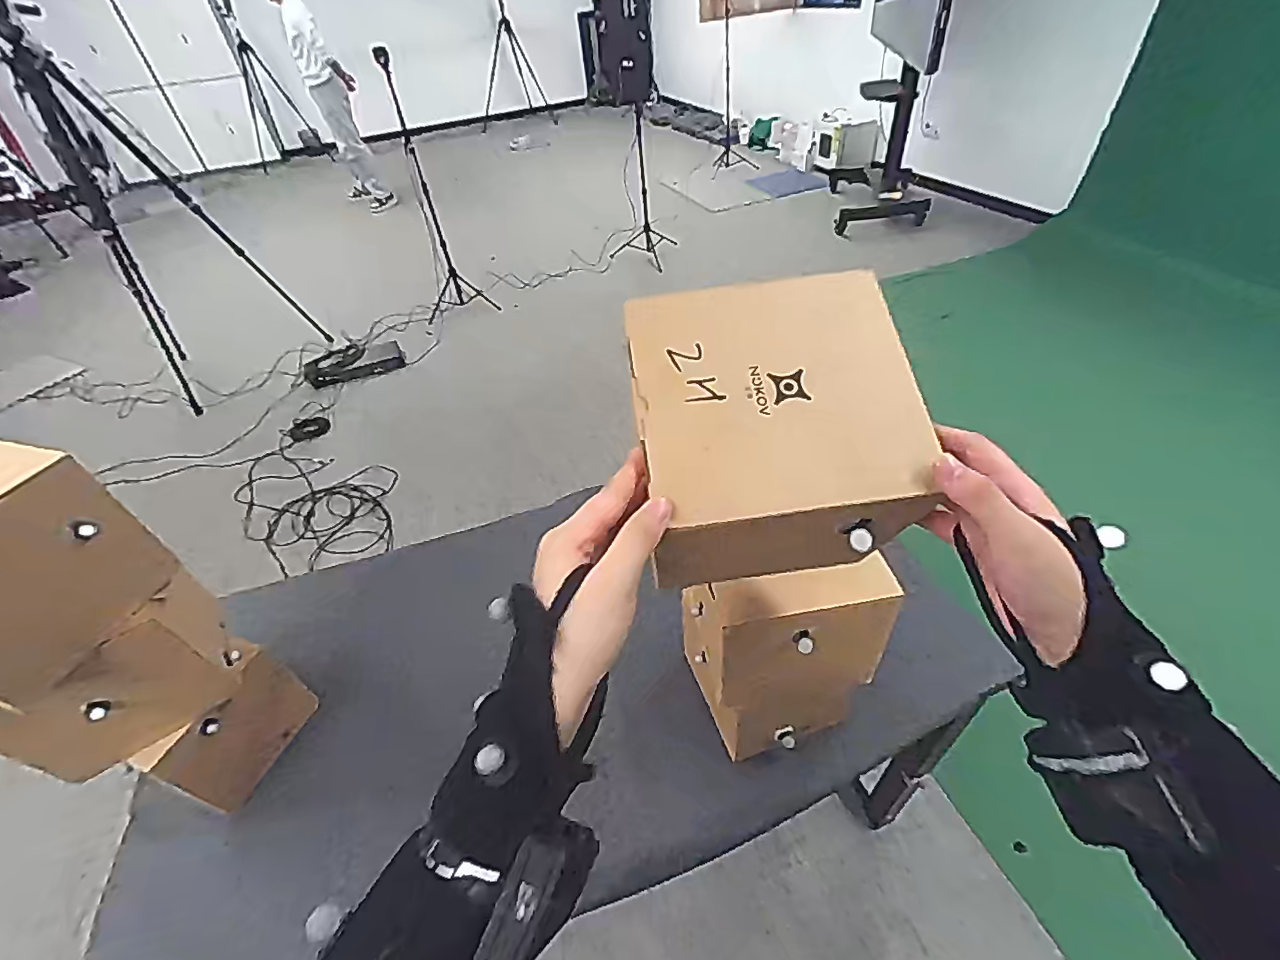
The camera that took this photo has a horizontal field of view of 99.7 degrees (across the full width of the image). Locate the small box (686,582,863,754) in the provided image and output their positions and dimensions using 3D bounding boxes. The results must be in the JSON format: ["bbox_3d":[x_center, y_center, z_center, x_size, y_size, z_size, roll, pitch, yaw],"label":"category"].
[{"bbox_3d":[0.169,0.230,0.728,0.168,0.176,0.179,-17,44,-9],"label":"small box"}]

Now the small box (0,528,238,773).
[{"bbox_3d":[-0.607,0.195,0.628,0.179,0.176,0.168,-32,50,-23],"label":"small box"}]

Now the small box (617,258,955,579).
[{"bbox_3d":[0.082,-0.030,0.397,0.179,0.176,0.168,-8,69,0],"label":"small box"}]

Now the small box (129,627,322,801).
[{"bbox_3d":[-0.594,0.311,0.745,0.179,0.176,0.168,11,47,18],"label":"small box"}]

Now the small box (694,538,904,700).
[{"bbox_3d":[0.157,0.122,0.606,0.179,0.176,0.168,-10,43,-1],"label":"small box"}]
